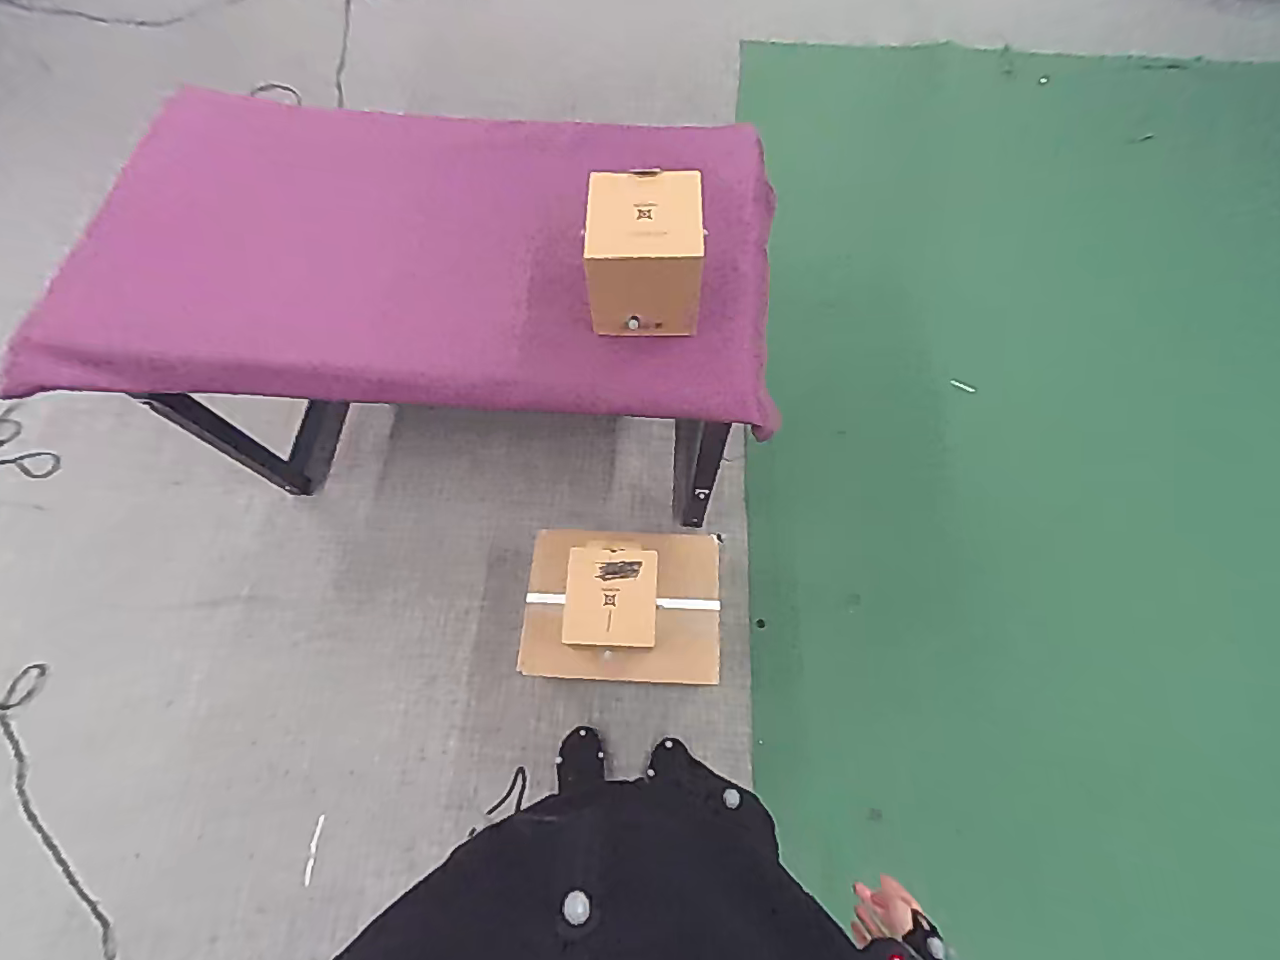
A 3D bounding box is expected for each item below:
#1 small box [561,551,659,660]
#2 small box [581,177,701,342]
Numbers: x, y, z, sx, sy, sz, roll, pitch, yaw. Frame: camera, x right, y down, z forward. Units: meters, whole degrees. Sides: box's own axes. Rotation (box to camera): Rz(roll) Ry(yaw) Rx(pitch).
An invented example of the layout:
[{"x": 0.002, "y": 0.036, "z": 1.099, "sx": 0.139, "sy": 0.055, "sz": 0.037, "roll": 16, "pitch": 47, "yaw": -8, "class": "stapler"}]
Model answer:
[{"x": -0.052, "y": 0.245, "z": 1.037, "sx": 0.168, "sy": 0.176, "sz": 0.179, "roll": 2, "pitch": 69, "yaw": 2, "class": "small box"}, {"x": 0.005, "y": -0.337, "z": 0.838, "sx": 0.168, "sy": 0.176, "sz": 0.179, "roll": 0, "pitch": 65, "yaw": 2, "class": "small box"}]
